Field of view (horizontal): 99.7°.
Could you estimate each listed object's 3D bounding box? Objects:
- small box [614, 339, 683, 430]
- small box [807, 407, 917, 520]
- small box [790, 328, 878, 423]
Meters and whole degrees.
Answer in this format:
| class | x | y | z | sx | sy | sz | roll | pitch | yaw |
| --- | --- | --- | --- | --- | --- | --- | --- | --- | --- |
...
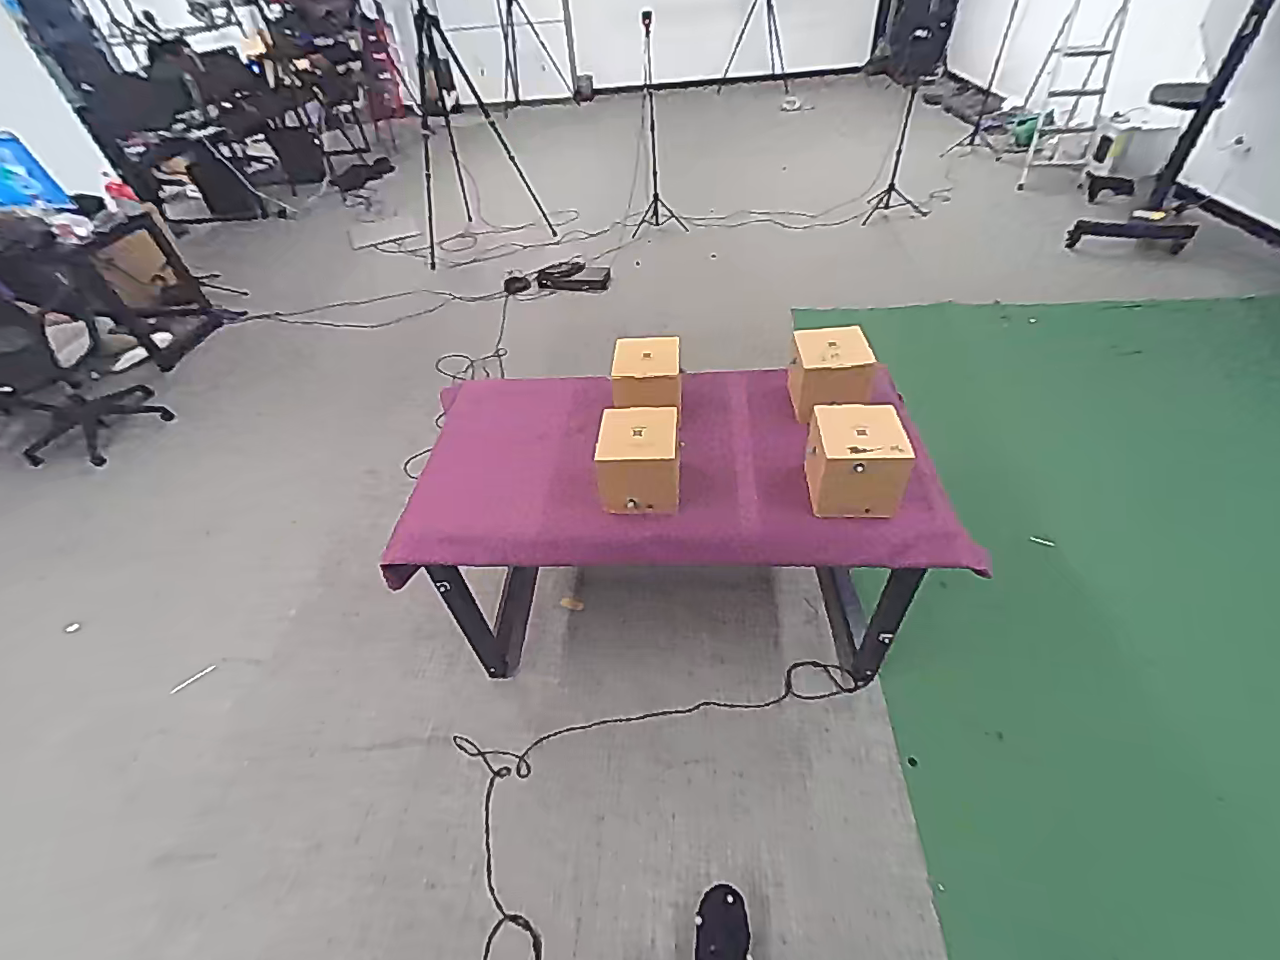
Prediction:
| class | x | y | z | sx | sy | sz | roll | pitch | yaw |
| --- | --- | --- | --- | --- | --- | --- | --- | --- | --- |
| small box | 0.026 | -0.250 | 1.405 | 0.168 | 0.176 | 0.179 | 0 | 46 | 5 |
| small box | 0.455 | -0.037 | 1.139 | 0.168 | 0.176 | 0.179 | 0 | 42 | 7 |
| small box | 0.480 | -0.262 | 1.365 | 0.168 | 0.176 | 0.179 | -3 | 45 | 7 |
